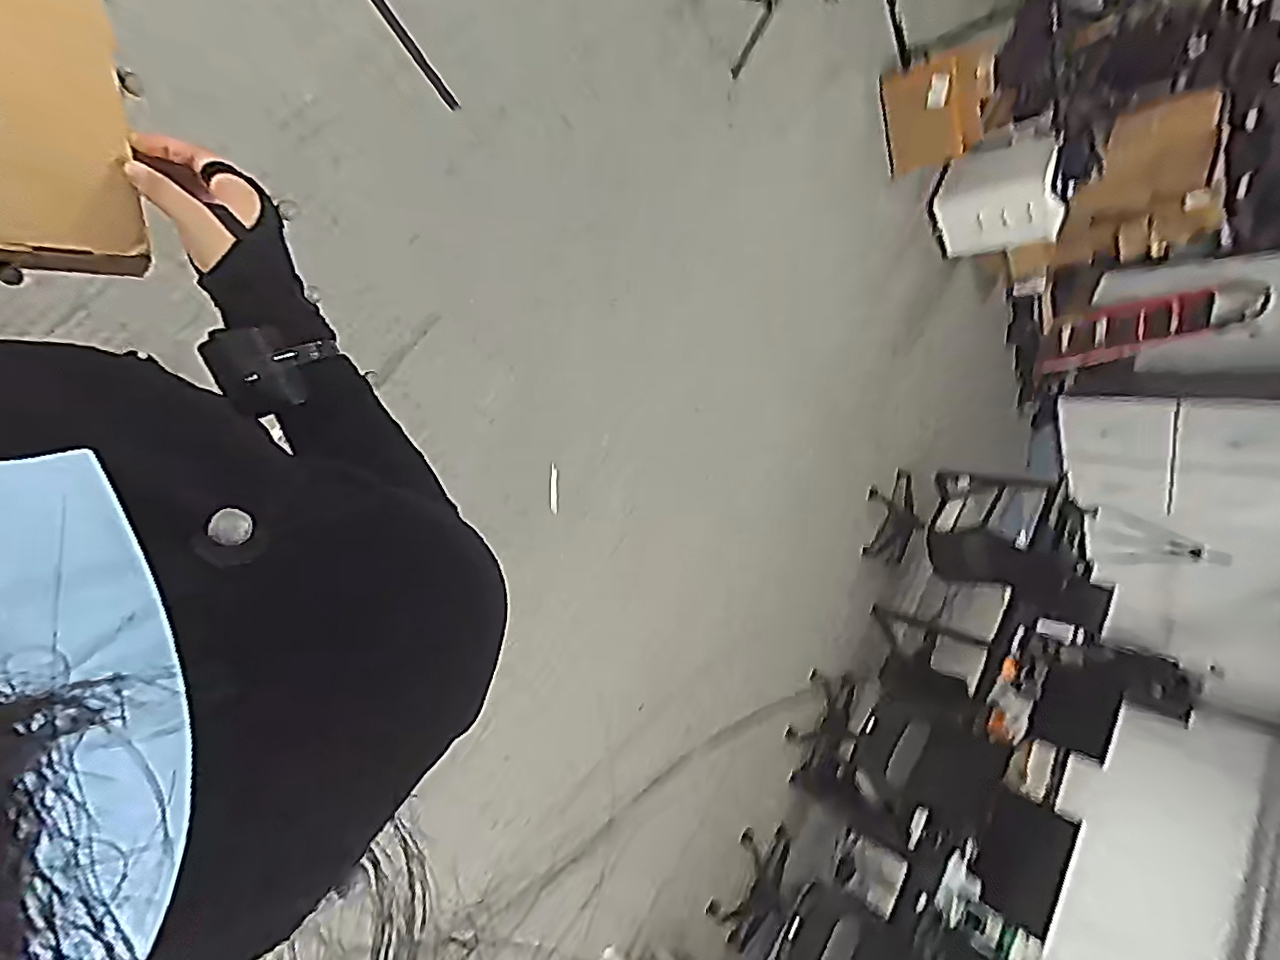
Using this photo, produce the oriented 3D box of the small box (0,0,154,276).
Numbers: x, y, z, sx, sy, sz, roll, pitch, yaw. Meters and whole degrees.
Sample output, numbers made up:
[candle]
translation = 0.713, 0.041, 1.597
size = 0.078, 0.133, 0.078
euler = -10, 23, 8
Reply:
[small box]
translation = -0.468, -0.247, 0.375
size = 0.168, 0.176, 0.179
euler = -13, 110, -42
